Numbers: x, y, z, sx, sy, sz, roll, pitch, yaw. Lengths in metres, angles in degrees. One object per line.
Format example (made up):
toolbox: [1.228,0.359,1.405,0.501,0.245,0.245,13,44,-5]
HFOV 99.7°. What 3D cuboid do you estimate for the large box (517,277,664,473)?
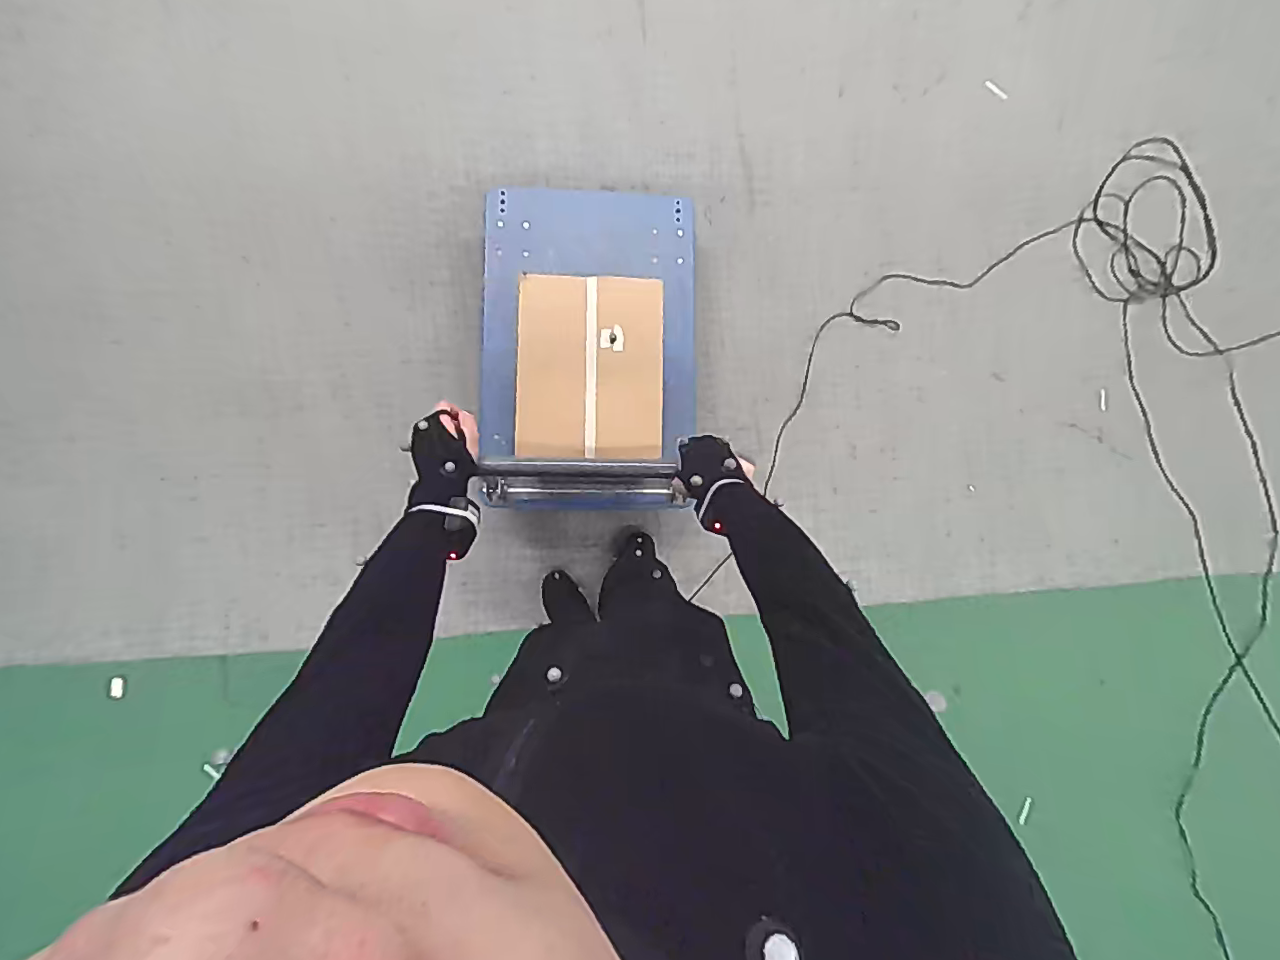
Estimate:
large box: [-0.114,-0.226,1.304,0.320,0.320,0.408,1,86,-5]
